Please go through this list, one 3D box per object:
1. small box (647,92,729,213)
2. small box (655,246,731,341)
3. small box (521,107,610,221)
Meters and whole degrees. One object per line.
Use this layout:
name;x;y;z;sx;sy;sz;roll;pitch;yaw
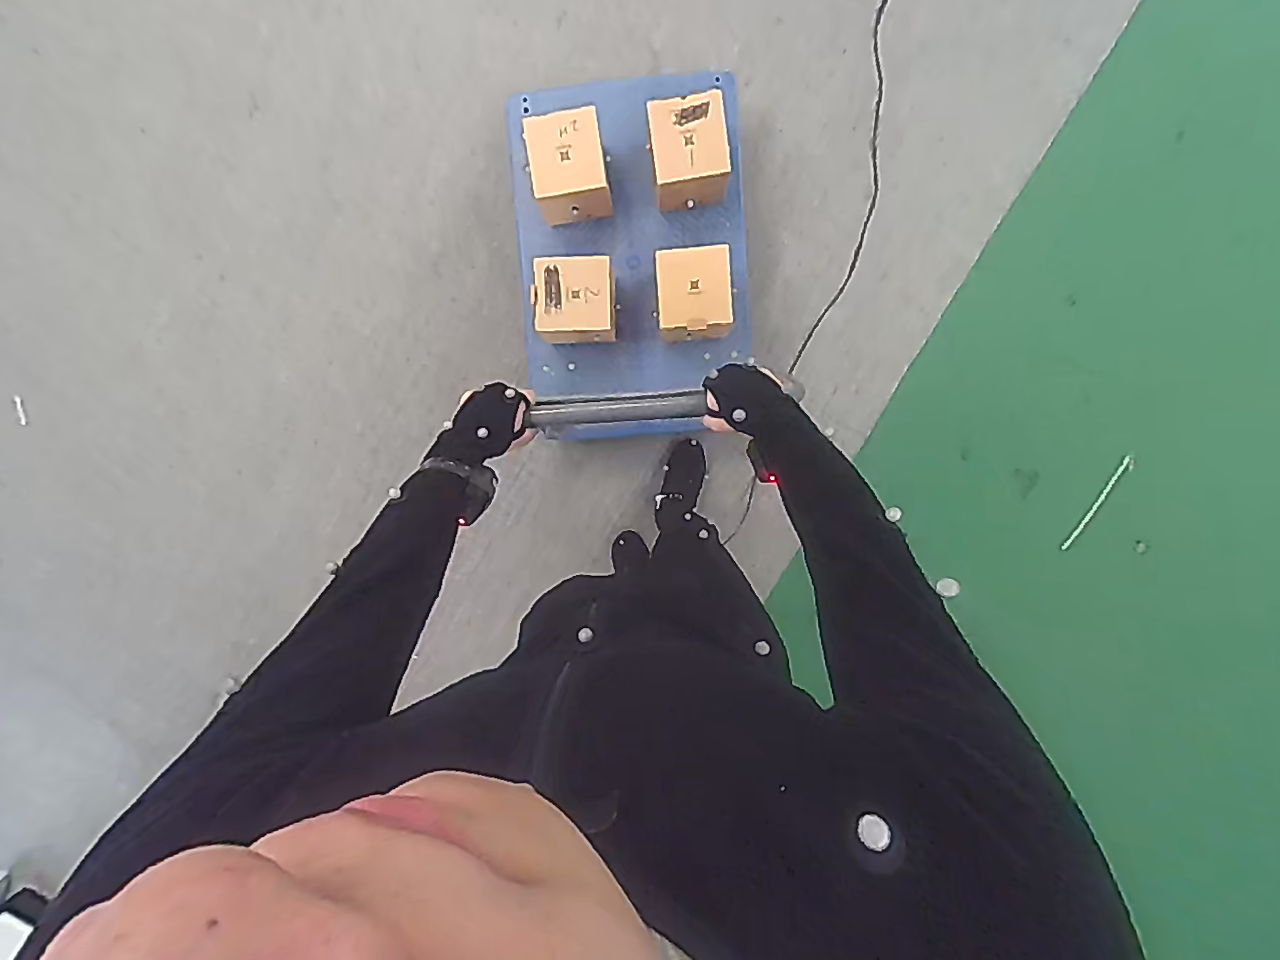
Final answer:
small box;0.107;-0.753;1.257;0.168;0.176;0.179;-8;96;4
small box;0.121;-0.437;1.289;0.168;0.176;0.179;-4;96;2
small box;-0.167;-0.728;1.271;0.168;0.176;0.179;-8;95;2
